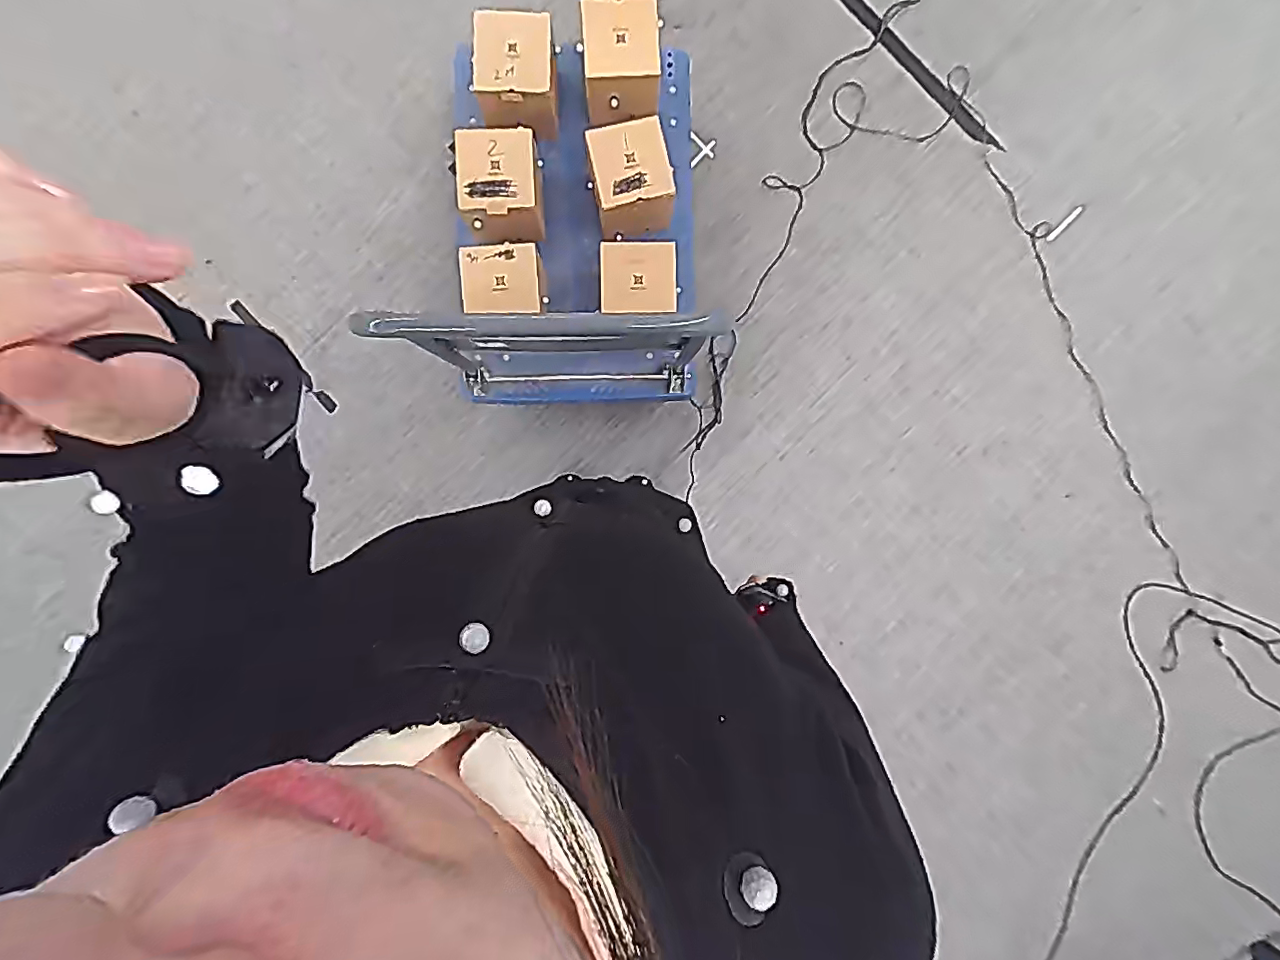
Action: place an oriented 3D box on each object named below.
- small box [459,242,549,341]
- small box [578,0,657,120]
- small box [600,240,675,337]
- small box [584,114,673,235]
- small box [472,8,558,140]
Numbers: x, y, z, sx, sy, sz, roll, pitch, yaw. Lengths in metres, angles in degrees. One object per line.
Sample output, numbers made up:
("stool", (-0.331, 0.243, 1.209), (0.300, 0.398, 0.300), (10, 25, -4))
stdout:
("small box", (-0.304, -0.422, 1.241), (0.168, 0.176, 0.179), (-5, 91, -3))
("small box", (-0.050, -0.964, 1.248), (0.168, 0.176, 0.179), (-4, 90, -2))
("small box", (-0.006, -0.435, 1.253), (0.168, 0.176, 0.179), (-1, 90, -3))
("small box", (-0.025, -0.692, 1.250), (0.168, 0.176, 0.179), (-14, 89, -2))
("small box", (-0.281, -0.921, 1.237), (0.168, 0.176, 0.179), (0, 91, -2))
